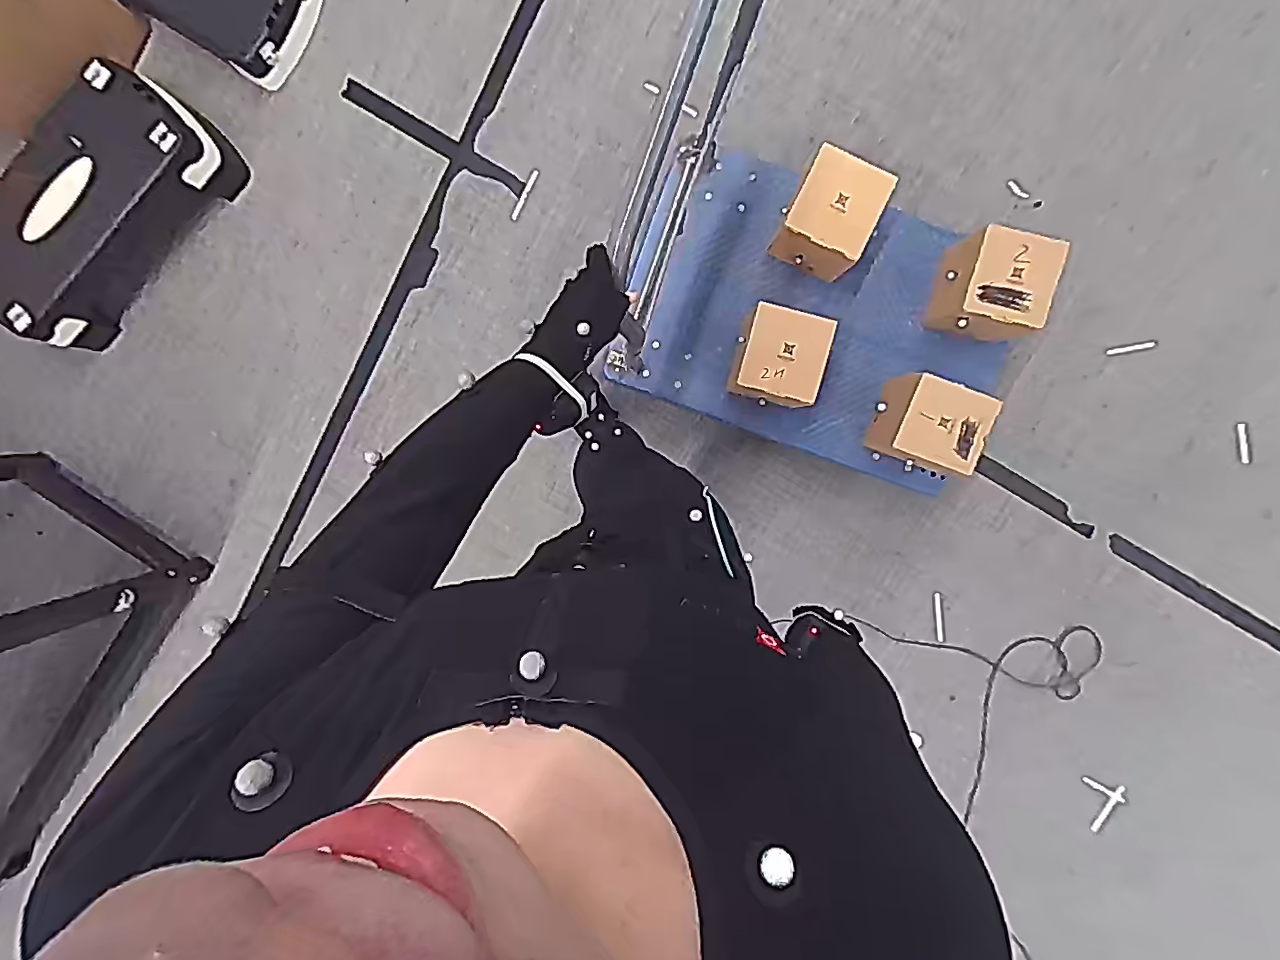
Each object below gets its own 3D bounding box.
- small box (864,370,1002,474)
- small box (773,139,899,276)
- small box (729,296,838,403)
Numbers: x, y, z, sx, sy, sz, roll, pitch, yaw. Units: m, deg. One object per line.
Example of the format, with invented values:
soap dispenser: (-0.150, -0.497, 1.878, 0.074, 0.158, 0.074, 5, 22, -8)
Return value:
small box: (0.627, -0.127, 1.180, 0.179, 0.176, 0.168, 21, 96, 0)
small box: (0.399, -0.561, 1.140, 0.168, 0.176, 0.179, 24, 97, -2)
small box: (0.299, -0.273, 1.172, 0.168, 0.176, 0.179, 15, 96, 0)
